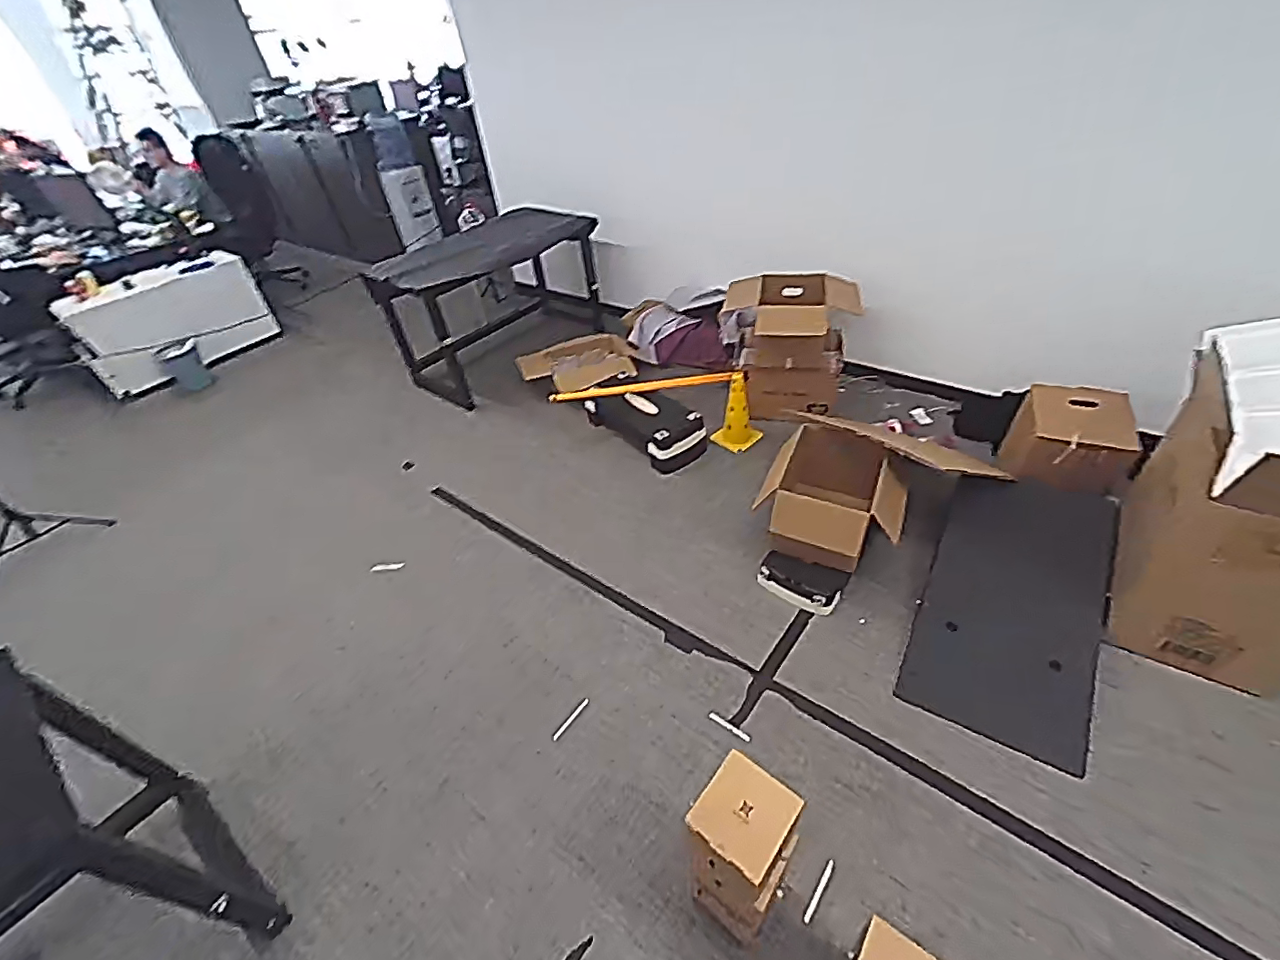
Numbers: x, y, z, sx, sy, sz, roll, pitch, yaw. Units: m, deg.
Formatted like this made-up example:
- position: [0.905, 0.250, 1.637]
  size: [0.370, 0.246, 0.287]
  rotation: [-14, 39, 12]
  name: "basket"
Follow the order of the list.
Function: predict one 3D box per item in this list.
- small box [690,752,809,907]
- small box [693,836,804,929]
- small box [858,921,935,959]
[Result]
- position: [0.213, 0.697, 1.080]
  size: [0.168, 0.176, 0.179]
  rotation: [26, 51, 32]
  name: "small box"
- position: [0.232, 0.826, 1.177]
  size: [0.179, 0.176, 0.168]
  rotation: [25, 50, 30]
  name: "small box"
- position: [0.475, 0.967, 0.984]
  size: [0.168, 0.176, 0.179]
  rotation: [23, 49, 31]
  name: "small box"
